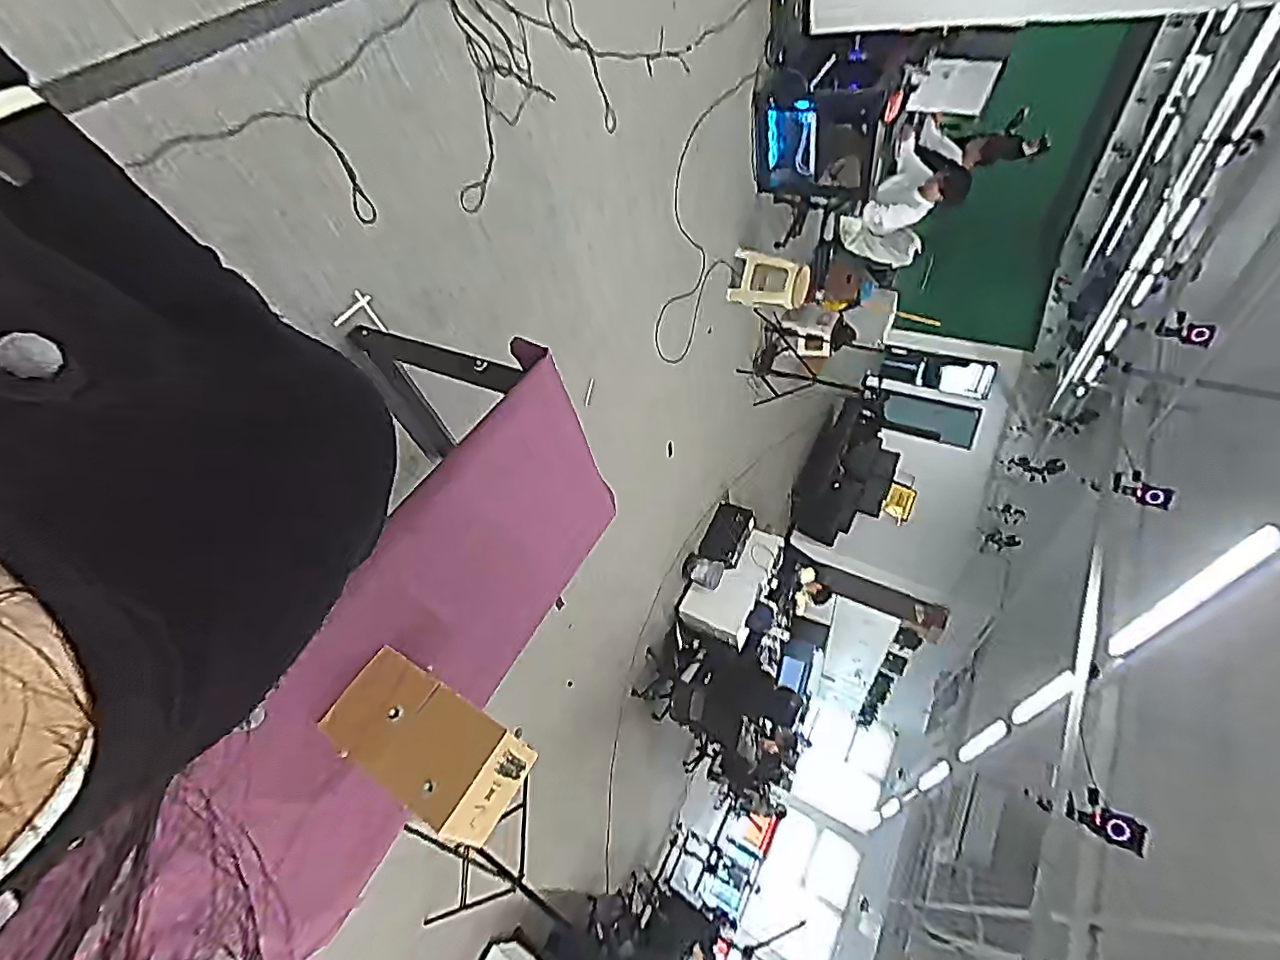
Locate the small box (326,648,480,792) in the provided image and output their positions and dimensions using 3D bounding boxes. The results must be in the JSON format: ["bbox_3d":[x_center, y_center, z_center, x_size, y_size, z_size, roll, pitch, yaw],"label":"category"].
[{"bbox_3d":[-0.450,0.454,1.036,0.179,0.176,0.168,-54,148,-28],"label":"small box"}]
